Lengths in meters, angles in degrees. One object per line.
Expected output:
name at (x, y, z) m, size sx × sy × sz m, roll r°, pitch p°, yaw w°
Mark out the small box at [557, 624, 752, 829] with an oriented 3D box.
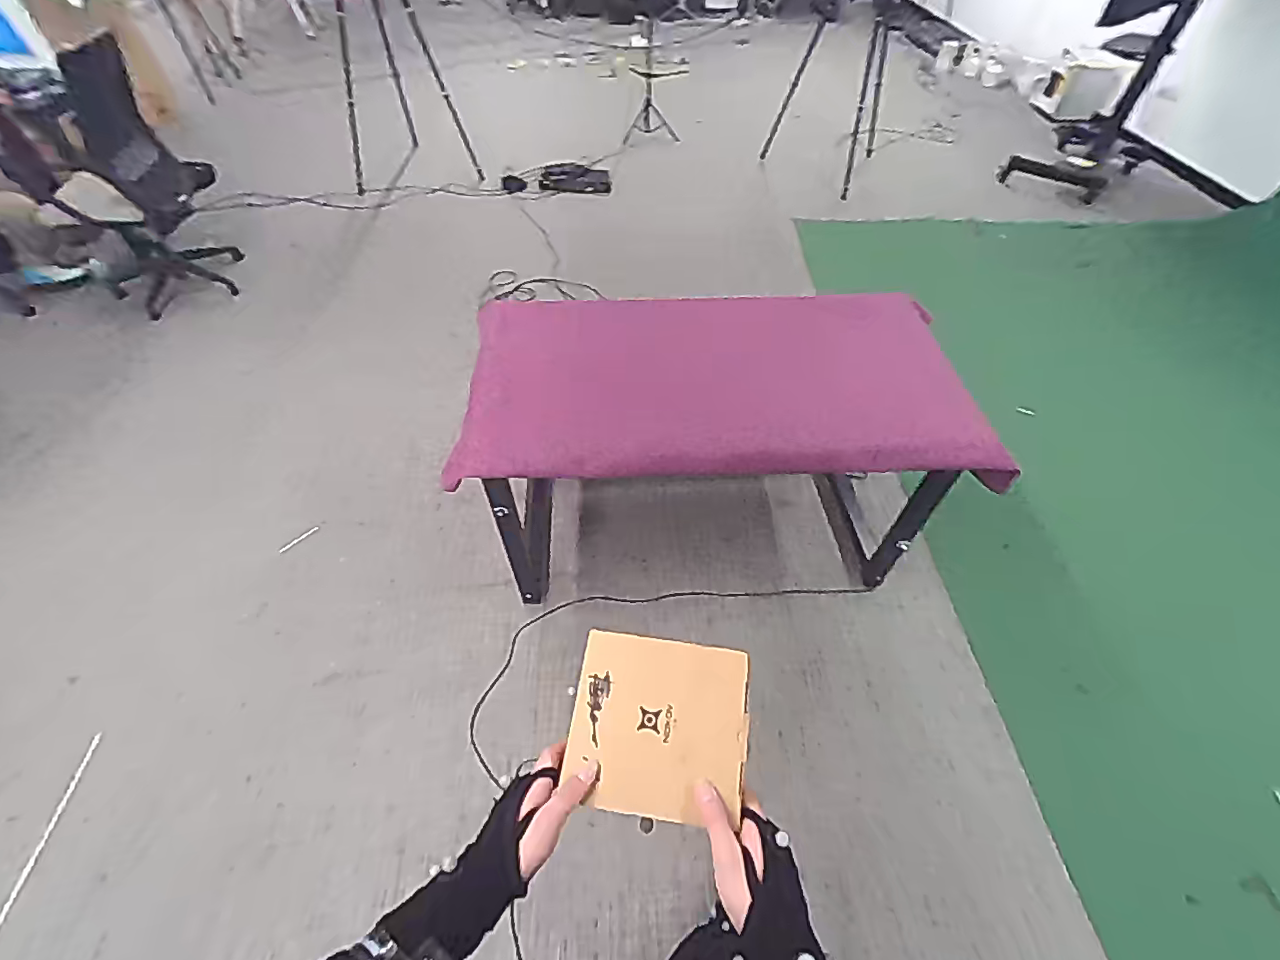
small box at (0.020, 0.276, 0.606) m, size 0.179 × 0.176 × 0.168 m, roll 7°, pitch 59°, yaw 5°
